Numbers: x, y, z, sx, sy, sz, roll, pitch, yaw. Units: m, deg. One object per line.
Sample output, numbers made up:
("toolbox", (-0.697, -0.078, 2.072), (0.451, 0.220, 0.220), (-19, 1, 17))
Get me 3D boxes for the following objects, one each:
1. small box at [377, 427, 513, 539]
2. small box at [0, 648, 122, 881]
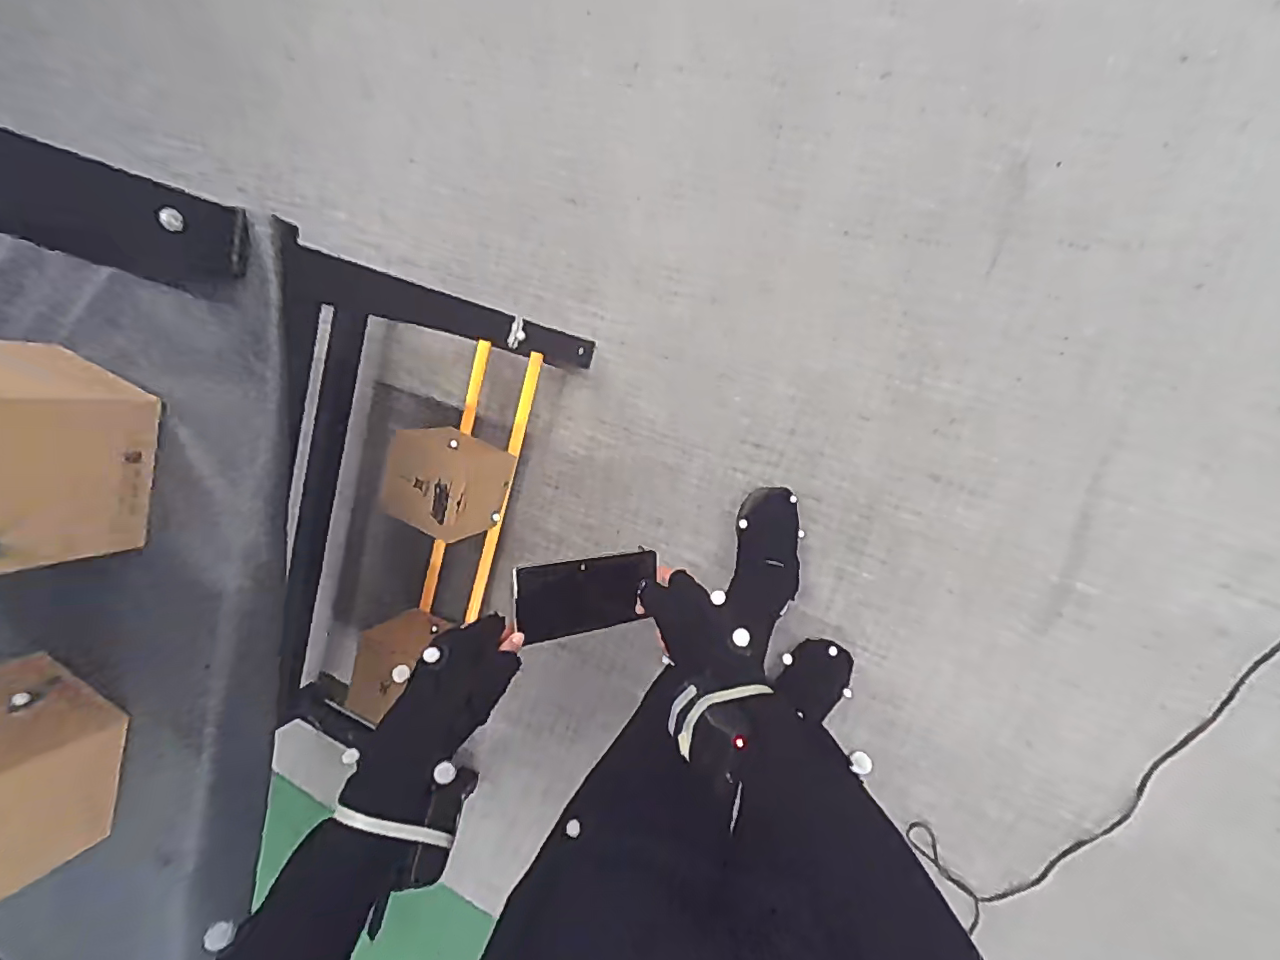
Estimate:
("small box", (-0.386, -0.005, 1.092), (0.179, 0.176, 0.168), (24, 103, 14))
("small box", (-0.704, 0.314, 0.572), (0.168, 0.176, 0.179), (24, 103, 14))
